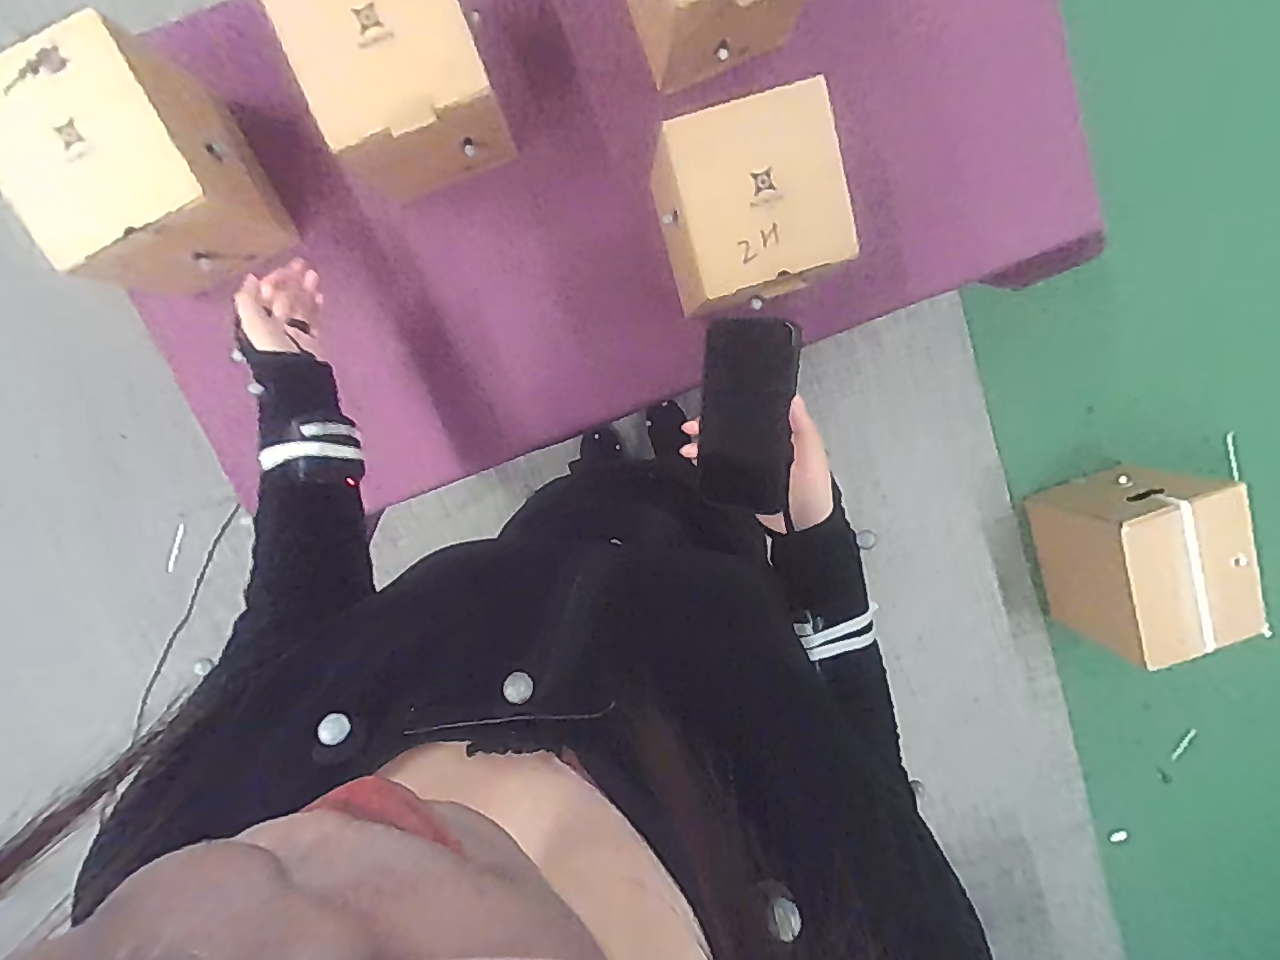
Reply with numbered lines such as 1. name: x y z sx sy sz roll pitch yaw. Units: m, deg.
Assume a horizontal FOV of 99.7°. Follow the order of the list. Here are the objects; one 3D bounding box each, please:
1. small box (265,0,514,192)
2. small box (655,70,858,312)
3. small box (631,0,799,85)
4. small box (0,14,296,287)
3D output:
1. small box: -0.250 -0.433 0.573 0.168 0.176 0.179 -21 101 0
2. small box: 0.119 -0.307 0.615 0.168 0.176 0.179 -16 101 1
3. small box: 0.071 -0.570 0.563 0.168 0.176 0.179 -23 102 2
4. small box: -0.521 -0.323 0.579 0.168 0.176 0.179 -26 102 2
